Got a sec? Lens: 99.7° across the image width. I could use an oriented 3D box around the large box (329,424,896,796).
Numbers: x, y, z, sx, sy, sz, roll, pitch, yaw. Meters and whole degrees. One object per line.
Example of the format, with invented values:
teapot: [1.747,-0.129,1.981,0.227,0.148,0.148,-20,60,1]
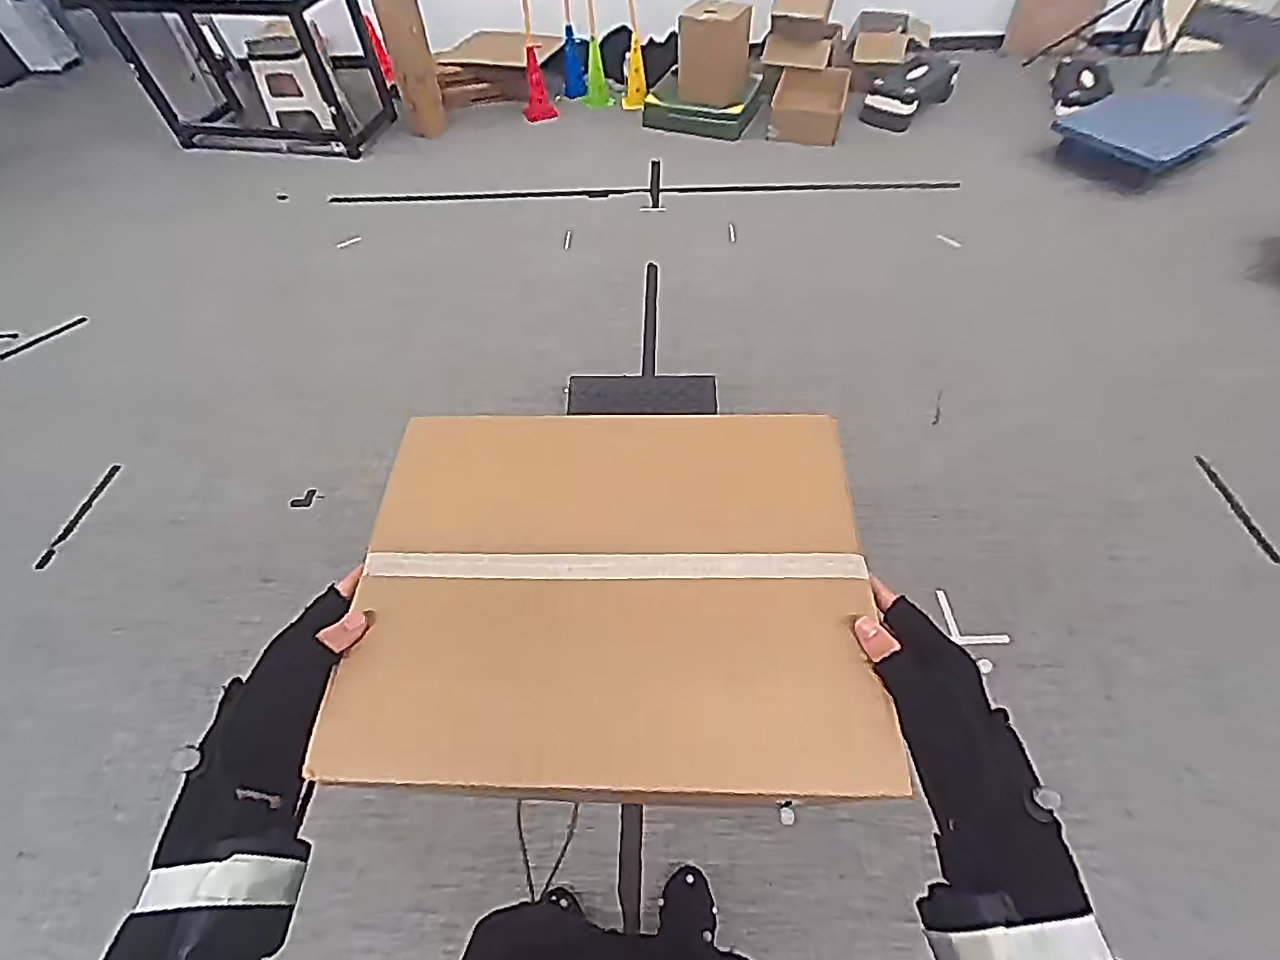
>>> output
large box: [-0.014,0.156,0.576,0.408,0.320,0.320,0,58,3]
